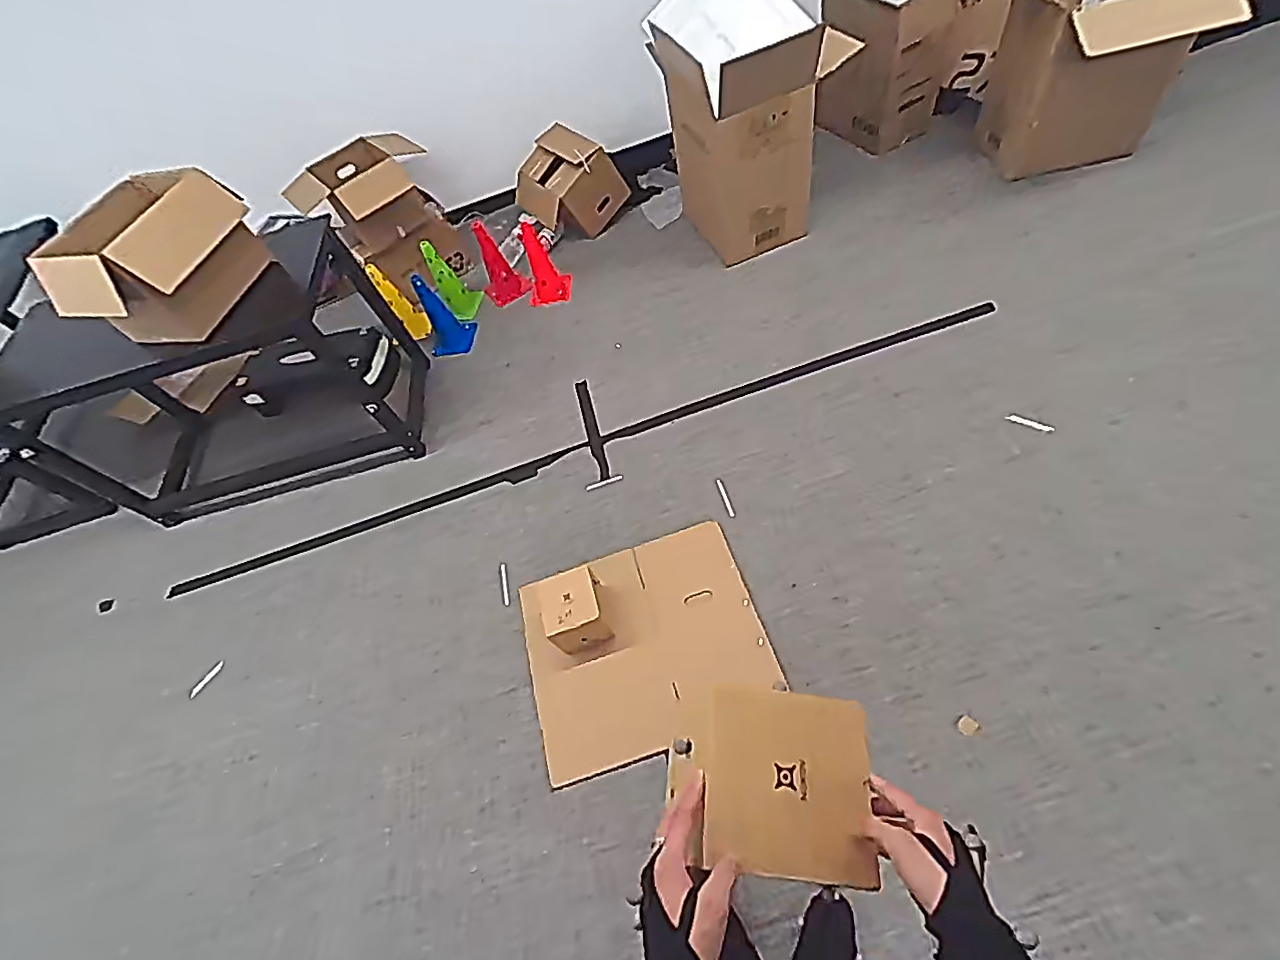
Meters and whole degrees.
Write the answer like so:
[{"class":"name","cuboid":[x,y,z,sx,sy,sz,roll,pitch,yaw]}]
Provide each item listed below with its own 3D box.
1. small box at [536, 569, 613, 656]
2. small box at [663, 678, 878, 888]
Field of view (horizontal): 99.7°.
[{"class":"small box","cuboid":[-0.194,0.400,1.619,0.168,0.176,0.179,-21,55,1]},{"class":"small box","cuboid":[0.129,0.332,0.599,0.179,0.176,0.168,11,58,-6]}]
